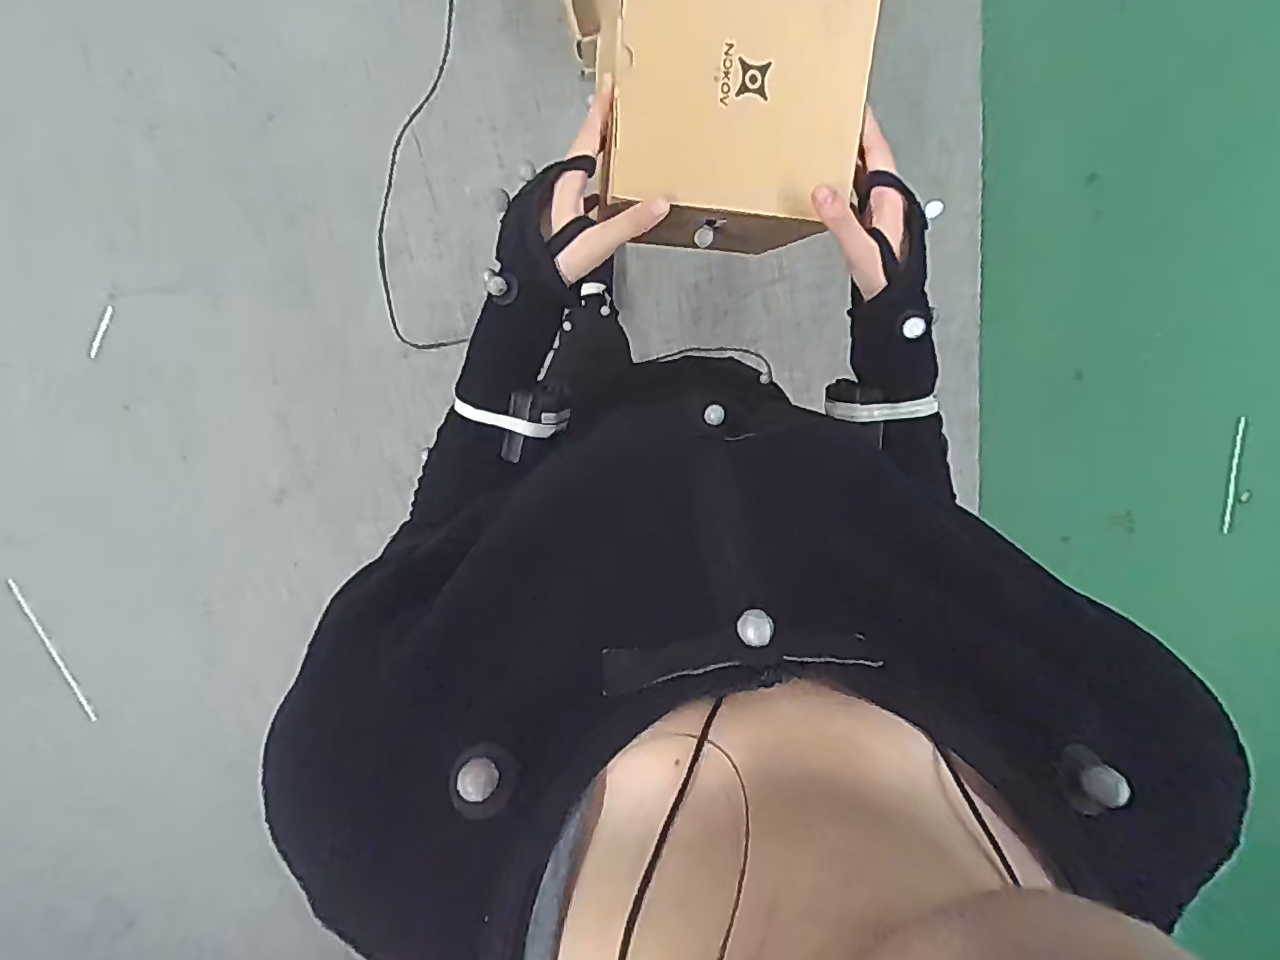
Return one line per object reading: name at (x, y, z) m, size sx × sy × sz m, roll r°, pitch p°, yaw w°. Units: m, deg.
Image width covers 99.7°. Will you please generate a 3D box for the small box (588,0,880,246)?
small box at (0.056, -0.290, 0.429) m, size 0.179 × 0.176 × 0.168 m, roll 1°, pitch 104°, yaw -10°
